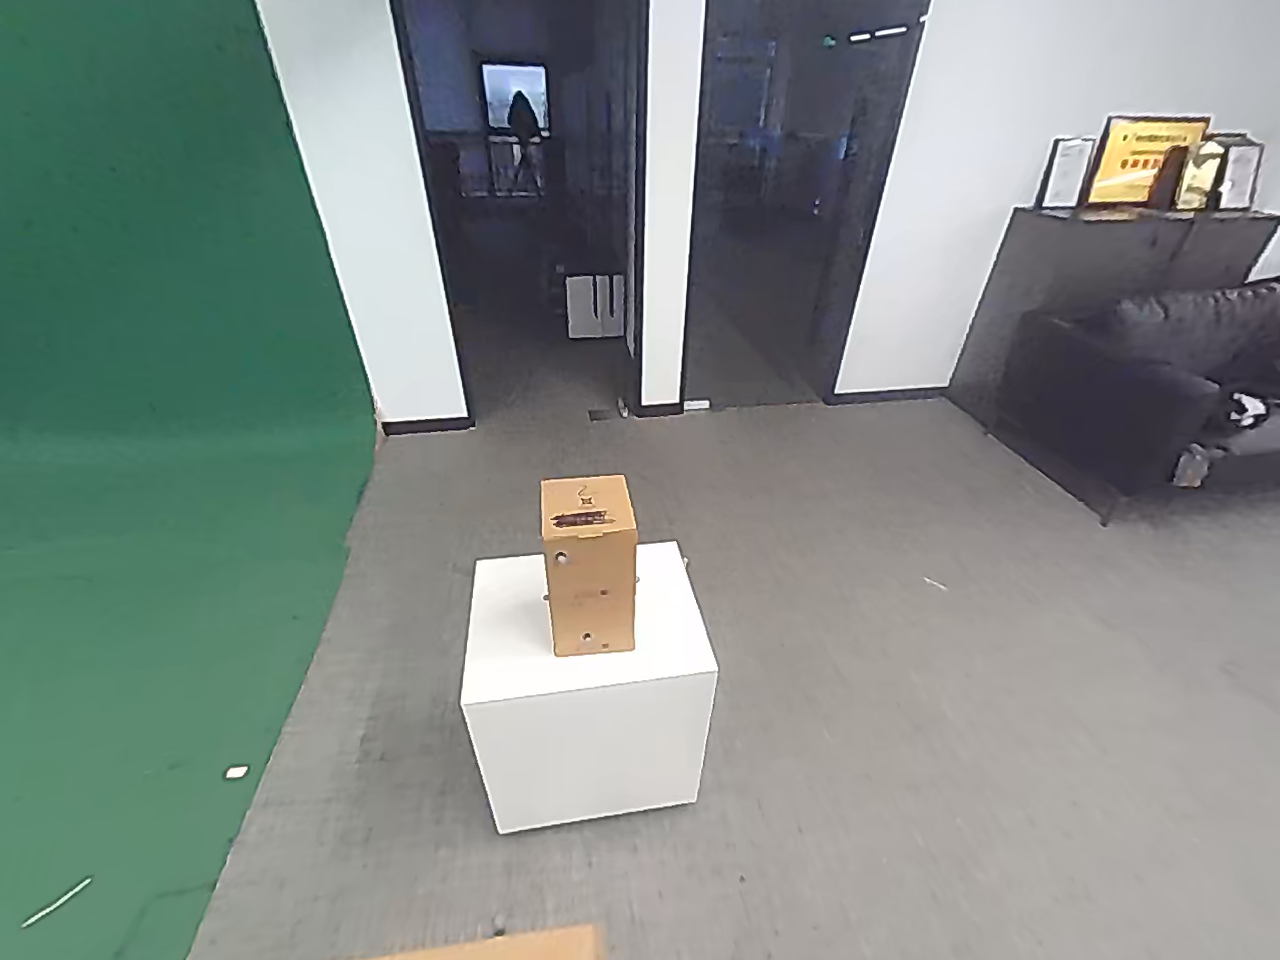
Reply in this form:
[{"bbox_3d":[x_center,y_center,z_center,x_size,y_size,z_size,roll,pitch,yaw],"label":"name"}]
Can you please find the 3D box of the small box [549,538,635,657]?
[{"bbox_3d":[-0.102,0.243,1.131,0.168,0.176,0.179,-3,34,-7],"label":"small box"}]
